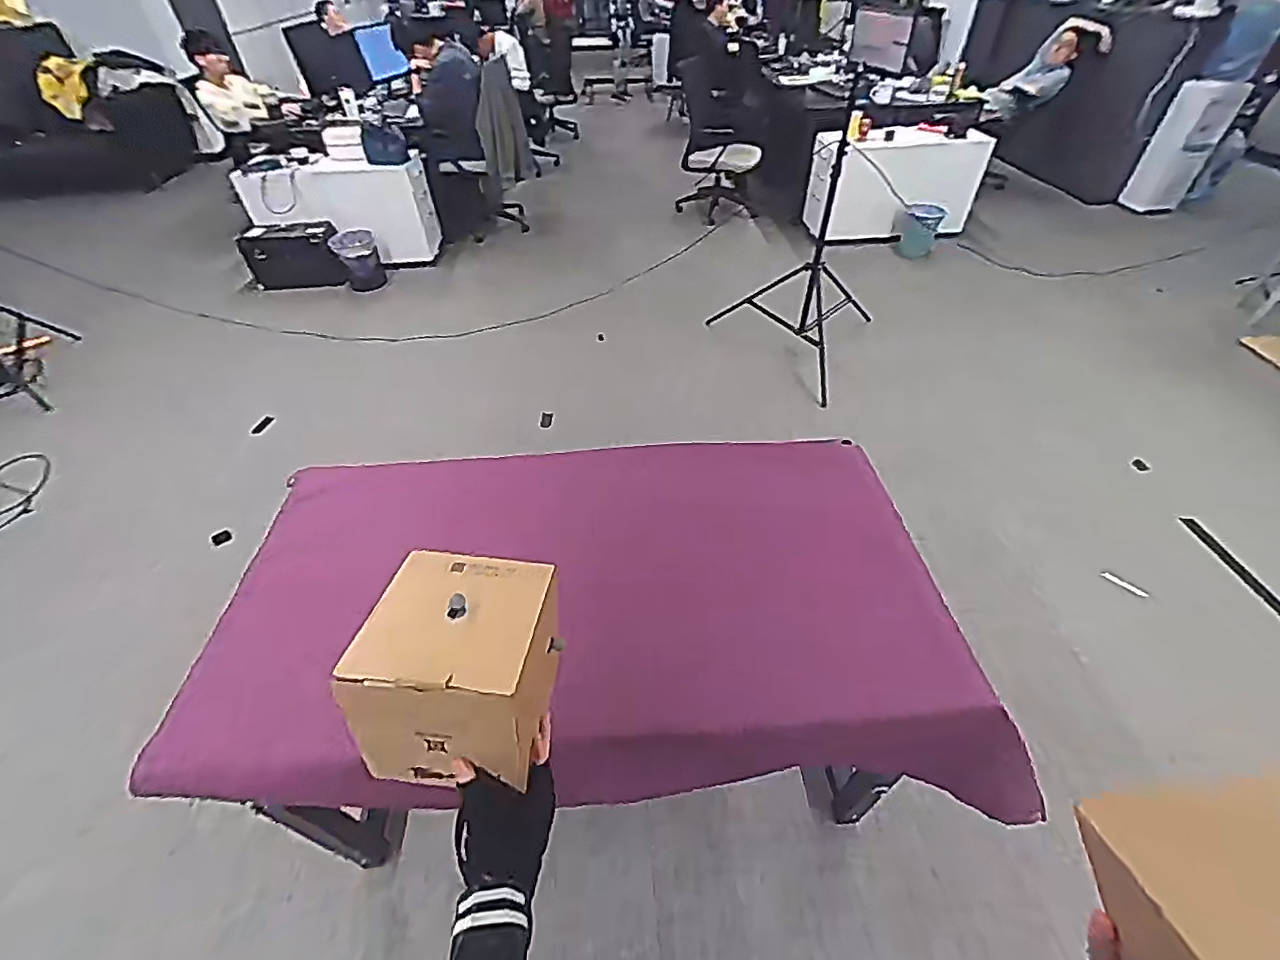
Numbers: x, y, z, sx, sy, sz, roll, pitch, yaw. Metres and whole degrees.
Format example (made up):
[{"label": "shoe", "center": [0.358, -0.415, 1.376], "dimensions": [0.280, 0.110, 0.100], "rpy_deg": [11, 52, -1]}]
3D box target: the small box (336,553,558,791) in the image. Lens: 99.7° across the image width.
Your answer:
[{"label": "small box", "center": [-0.187, 0.198, 0.582], "dimensions": [0.168, 0.179, 0.176], "rpy_deg": [6, 32, 2]}]
